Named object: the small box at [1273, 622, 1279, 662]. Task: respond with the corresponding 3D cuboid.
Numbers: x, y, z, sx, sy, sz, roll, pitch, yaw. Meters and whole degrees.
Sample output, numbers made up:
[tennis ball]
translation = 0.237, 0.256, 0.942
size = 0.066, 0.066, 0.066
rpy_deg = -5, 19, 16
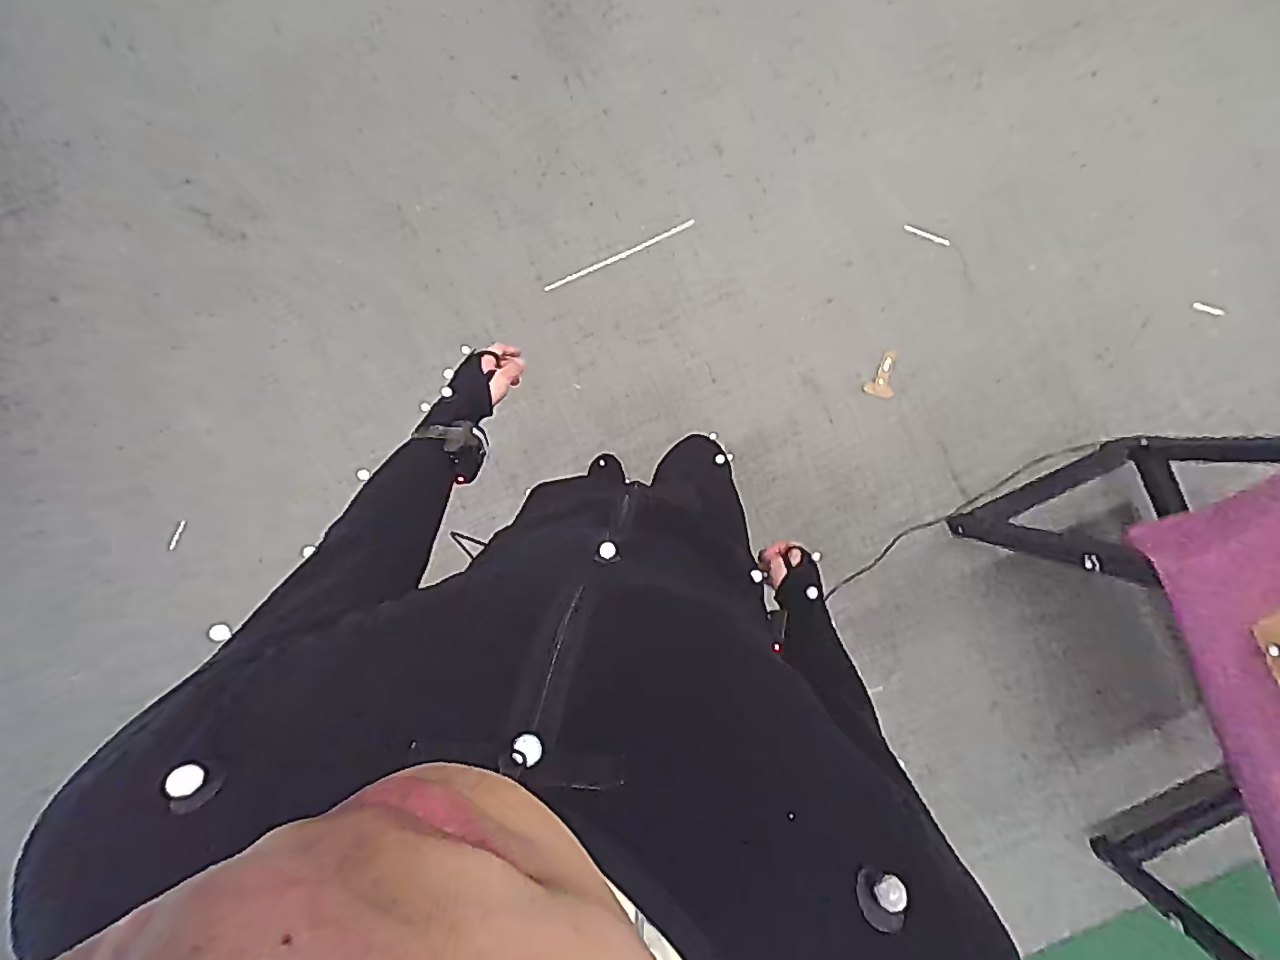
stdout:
[small box]
translation = 1.151, 0.288, 0.829
size = 0.179, 0.176, 0.168
rpy_deg = -28, 93, 0
